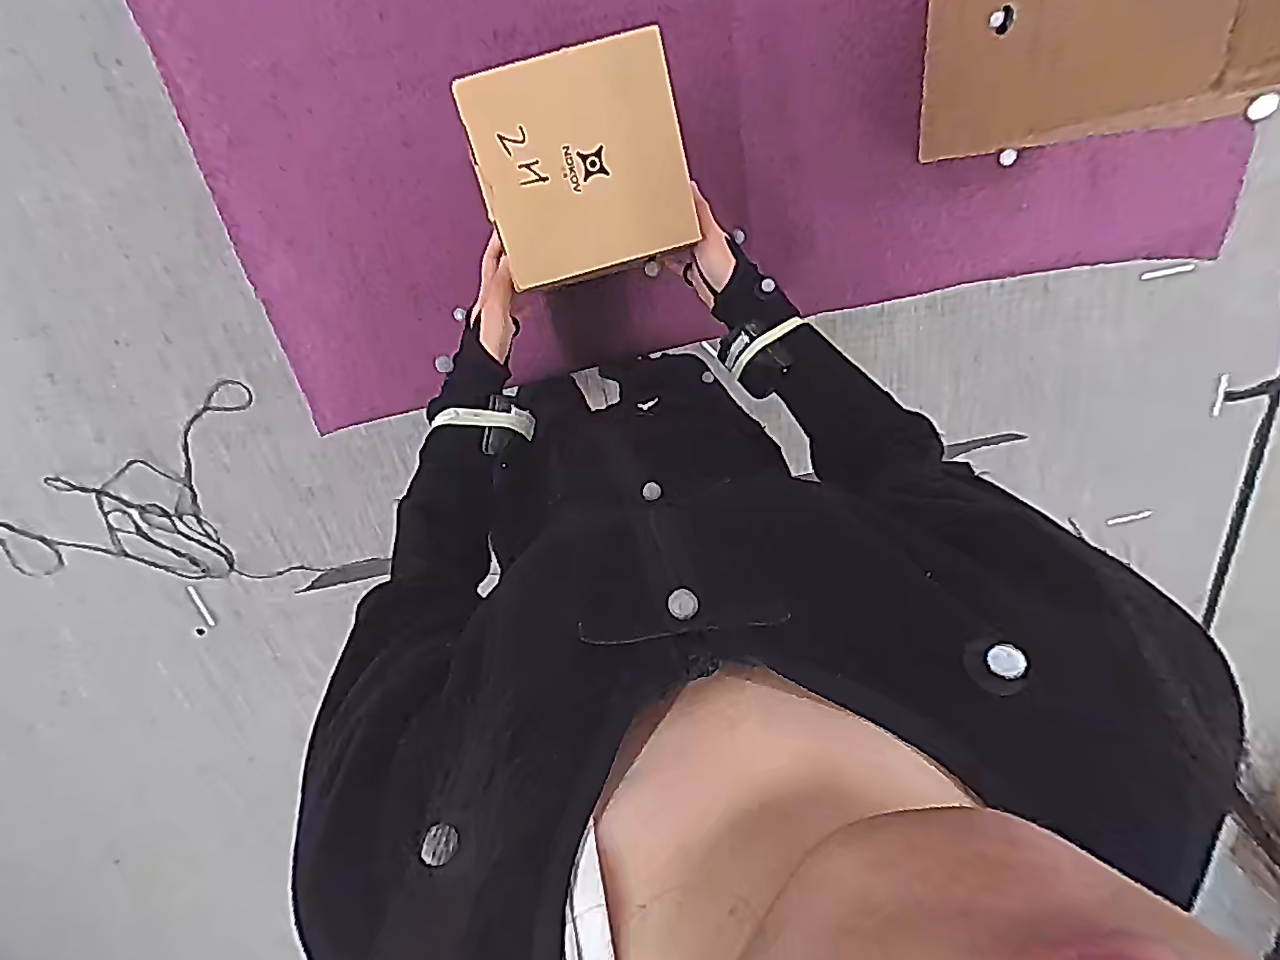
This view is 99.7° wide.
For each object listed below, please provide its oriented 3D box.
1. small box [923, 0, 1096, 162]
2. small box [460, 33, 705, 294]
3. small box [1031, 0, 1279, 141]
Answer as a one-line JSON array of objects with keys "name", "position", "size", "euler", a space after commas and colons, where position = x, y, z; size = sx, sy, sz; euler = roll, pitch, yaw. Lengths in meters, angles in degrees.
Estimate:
[{"name": "small box", "position": [0.408, -0.435, 0.536], "size": [0.168, 0.176, 0.179], "euler": [-9, 114, -2]}, {"name": "small box", "position": [-0.051, -0.288, 0.533], "size": [0.179, 0.176, 0.168], "euler": [-15, 108, 0]}, {"name": "small box", "position": [0.427, -0.367, 0.388], "size": [0.168, 0.176, 0.179], "euler": [-7, 113, -3]}]
